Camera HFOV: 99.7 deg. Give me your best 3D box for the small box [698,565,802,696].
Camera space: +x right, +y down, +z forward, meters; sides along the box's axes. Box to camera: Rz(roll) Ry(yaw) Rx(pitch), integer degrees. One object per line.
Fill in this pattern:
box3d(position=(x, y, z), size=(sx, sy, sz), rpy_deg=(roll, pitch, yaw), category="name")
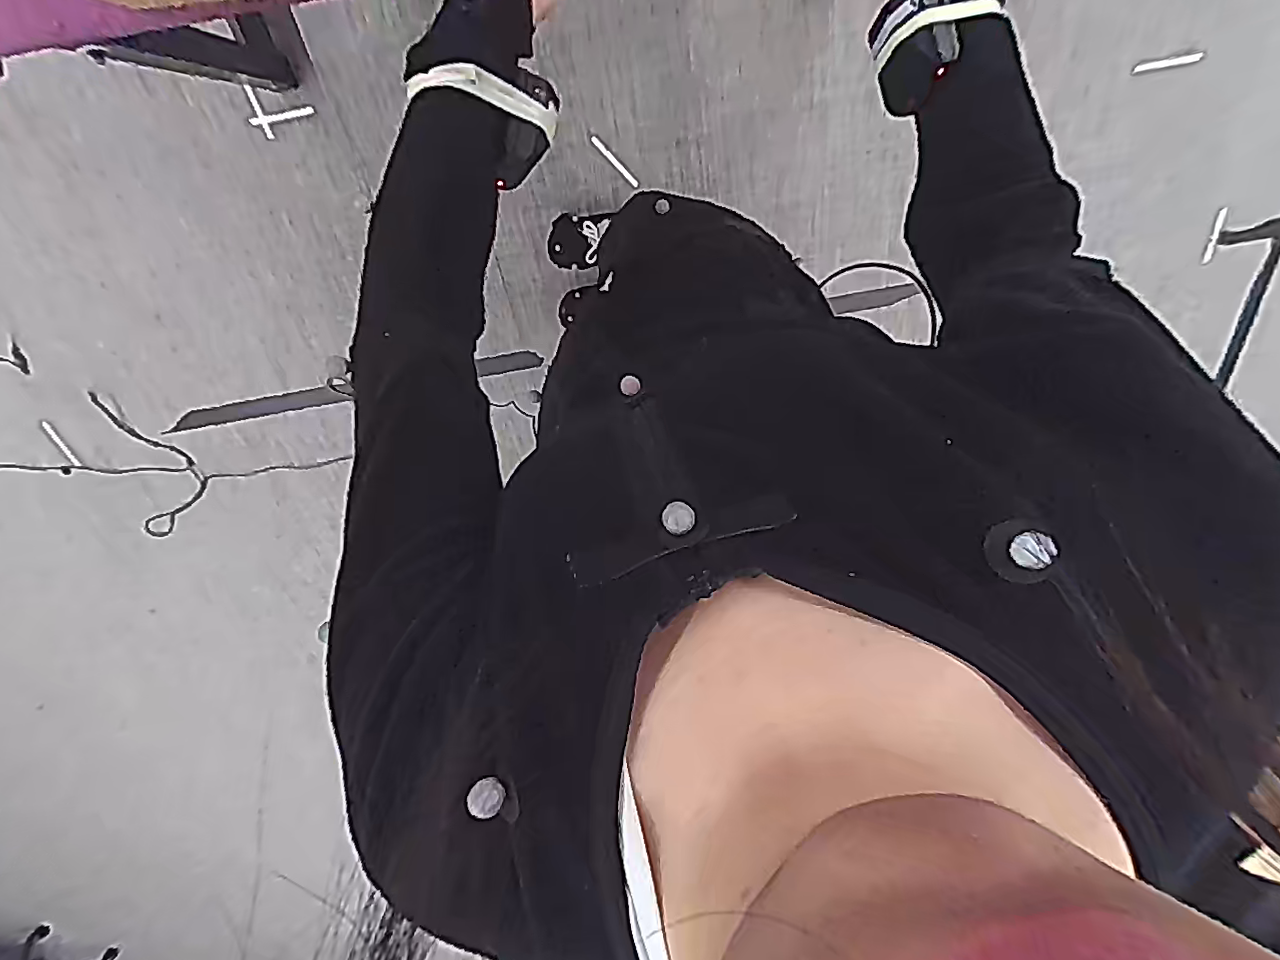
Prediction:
box3d(position=(0.214, 0.297, 1.077), size=(0.168, 0.176, 0.179), rpy_deg=(-10, 123, 0), category="small box")
